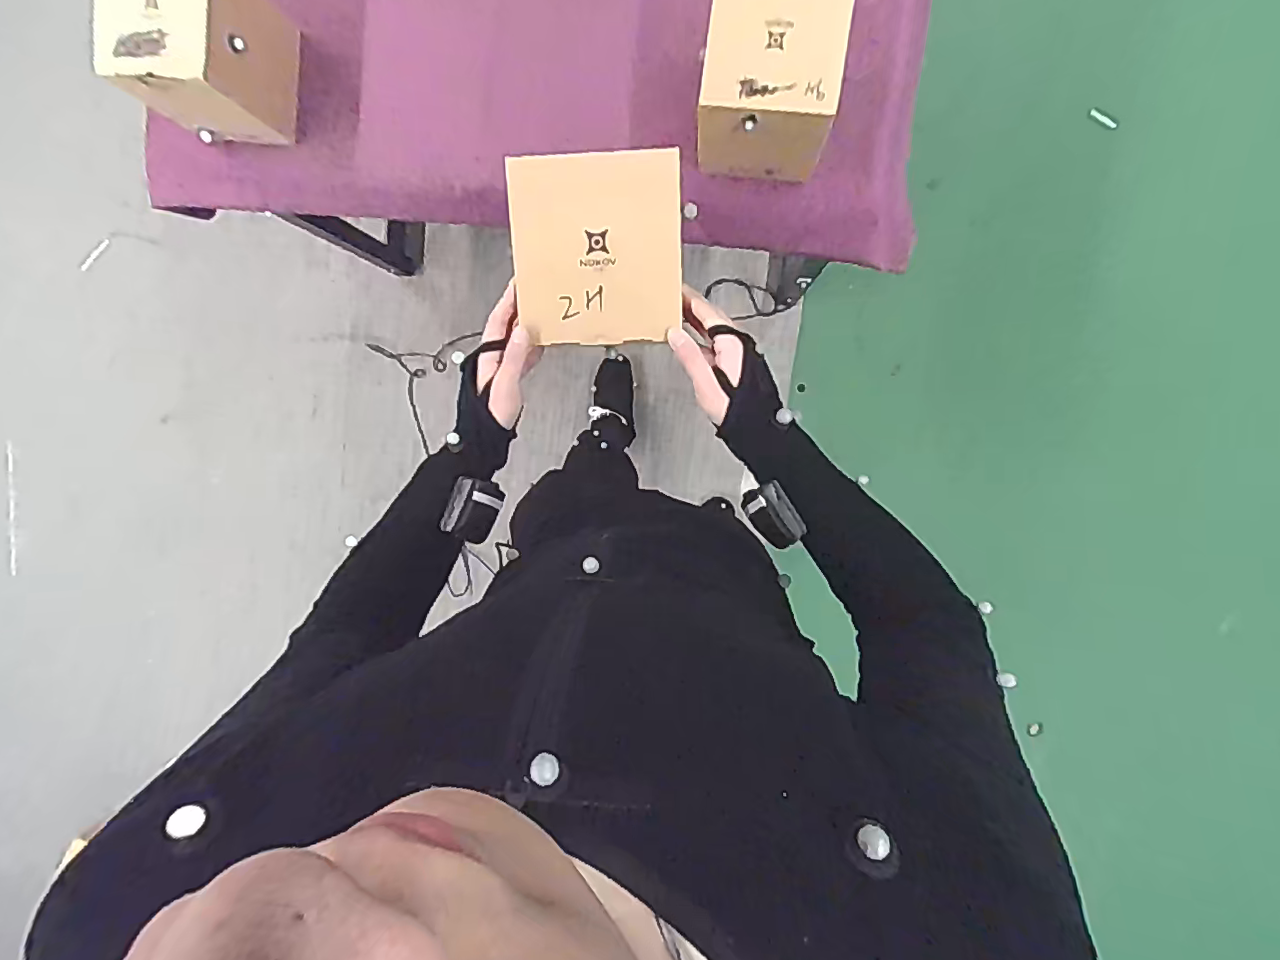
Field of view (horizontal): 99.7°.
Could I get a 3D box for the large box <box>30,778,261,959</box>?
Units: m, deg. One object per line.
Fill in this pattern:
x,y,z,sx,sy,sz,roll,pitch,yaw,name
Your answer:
-1.548,1.256,1.722,0.408,0.320,0.320,31,98,1,large box

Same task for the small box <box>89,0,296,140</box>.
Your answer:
-0.634,-0.627,0.785,0.168,0.176,0.179,7,95,4,small box

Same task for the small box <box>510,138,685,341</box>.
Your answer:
-0.037,-0.247,0.594,0.168,0.176,0.179,-1,104,3,small box

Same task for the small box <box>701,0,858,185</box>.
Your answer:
0.174,-0.528,0.718,0.168,0.176,0.179,9,94,6,small box
